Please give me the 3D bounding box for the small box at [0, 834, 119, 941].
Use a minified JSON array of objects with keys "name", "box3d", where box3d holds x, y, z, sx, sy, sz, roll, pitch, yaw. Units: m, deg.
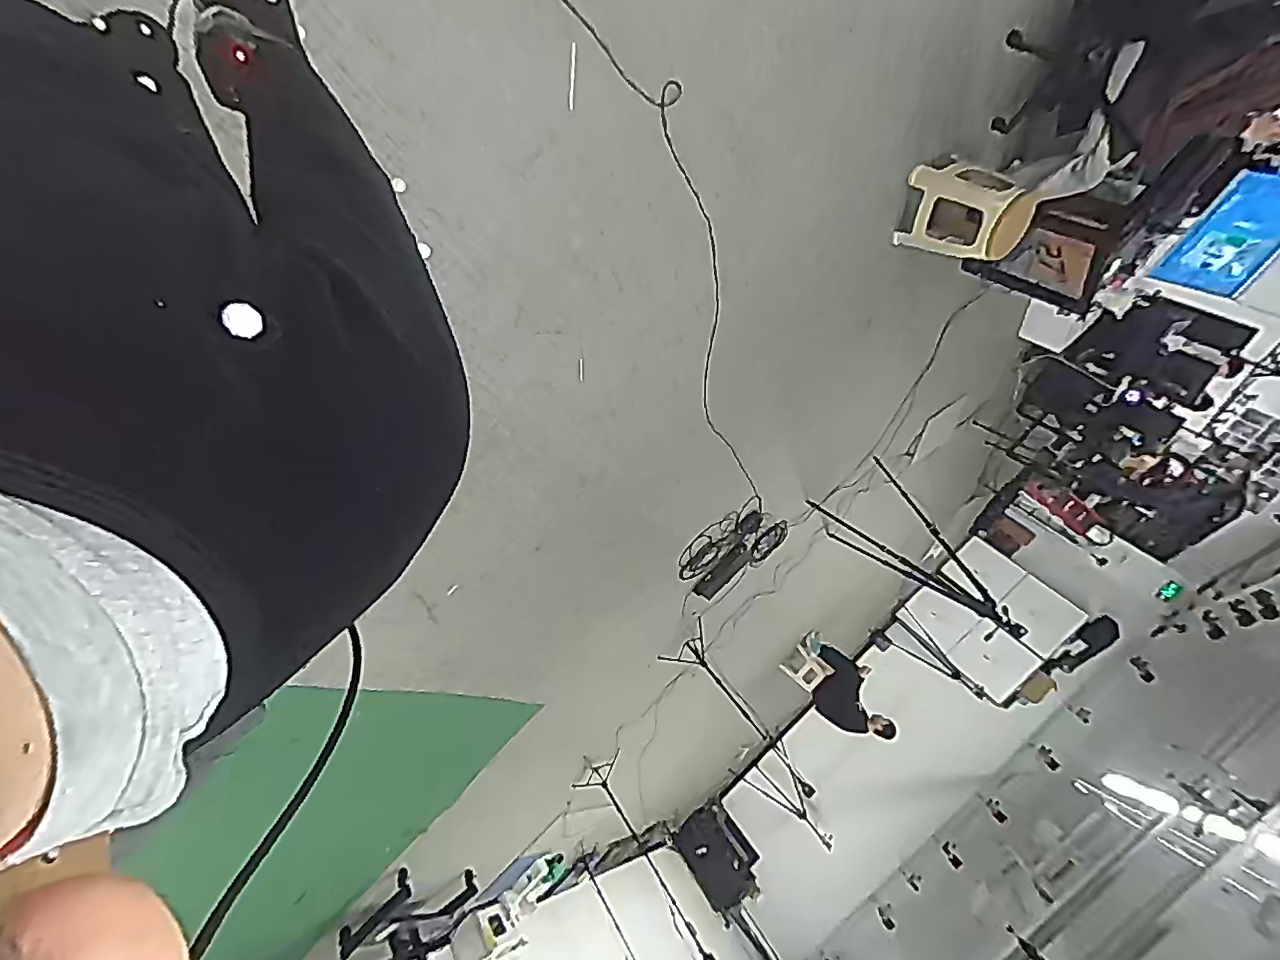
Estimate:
[{"name":"small box","box3d":[-1.022,0.723,0.899,0.179,0.176,0.168,-49,143,2]}]
